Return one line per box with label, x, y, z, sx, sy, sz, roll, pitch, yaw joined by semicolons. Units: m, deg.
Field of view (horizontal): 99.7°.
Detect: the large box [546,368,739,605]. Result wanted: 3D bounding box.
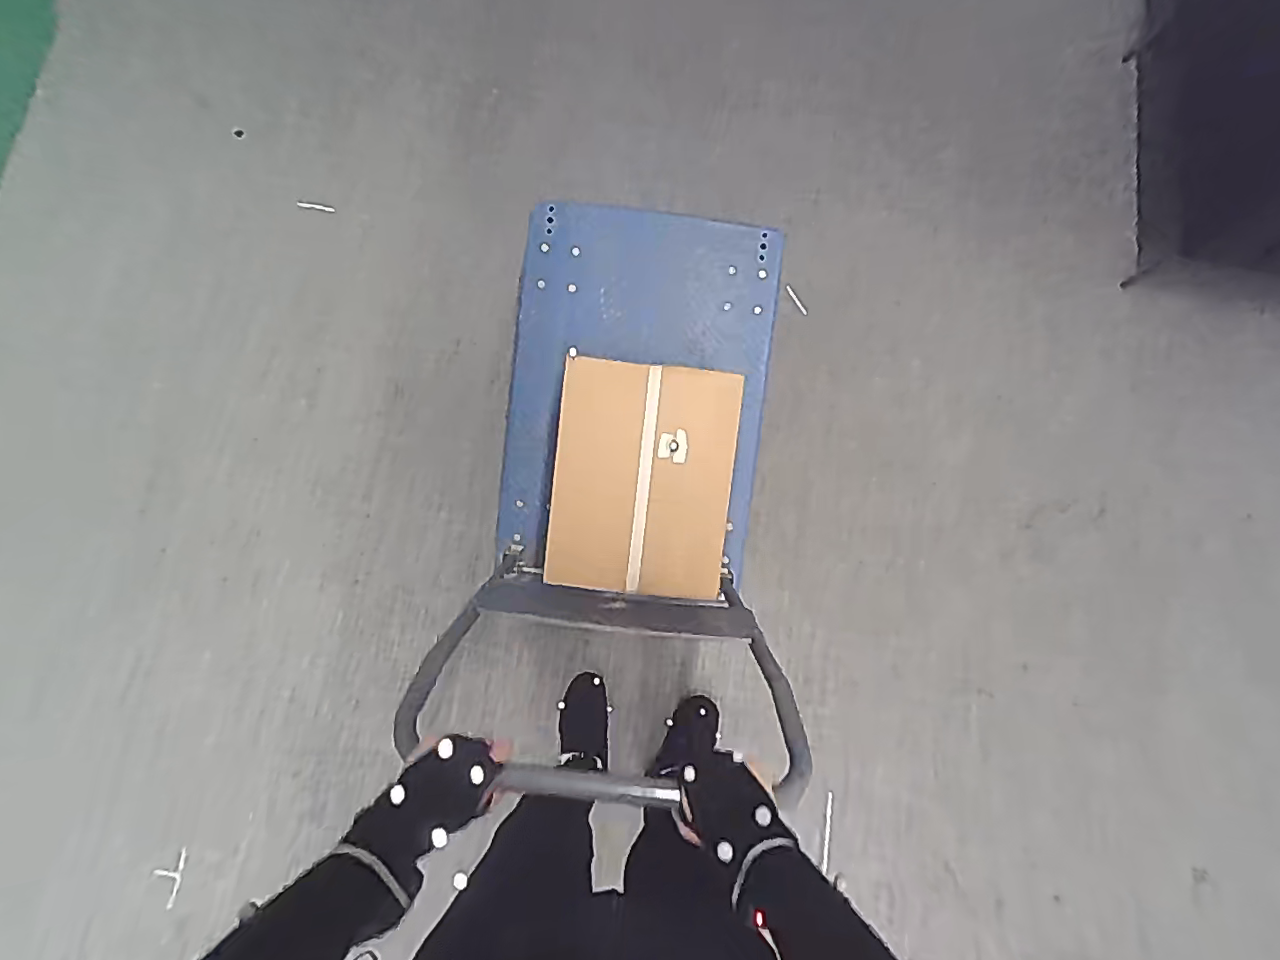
large box;0.002;0.007;1.101;0.320;0.320;0.408;6;94;-2
